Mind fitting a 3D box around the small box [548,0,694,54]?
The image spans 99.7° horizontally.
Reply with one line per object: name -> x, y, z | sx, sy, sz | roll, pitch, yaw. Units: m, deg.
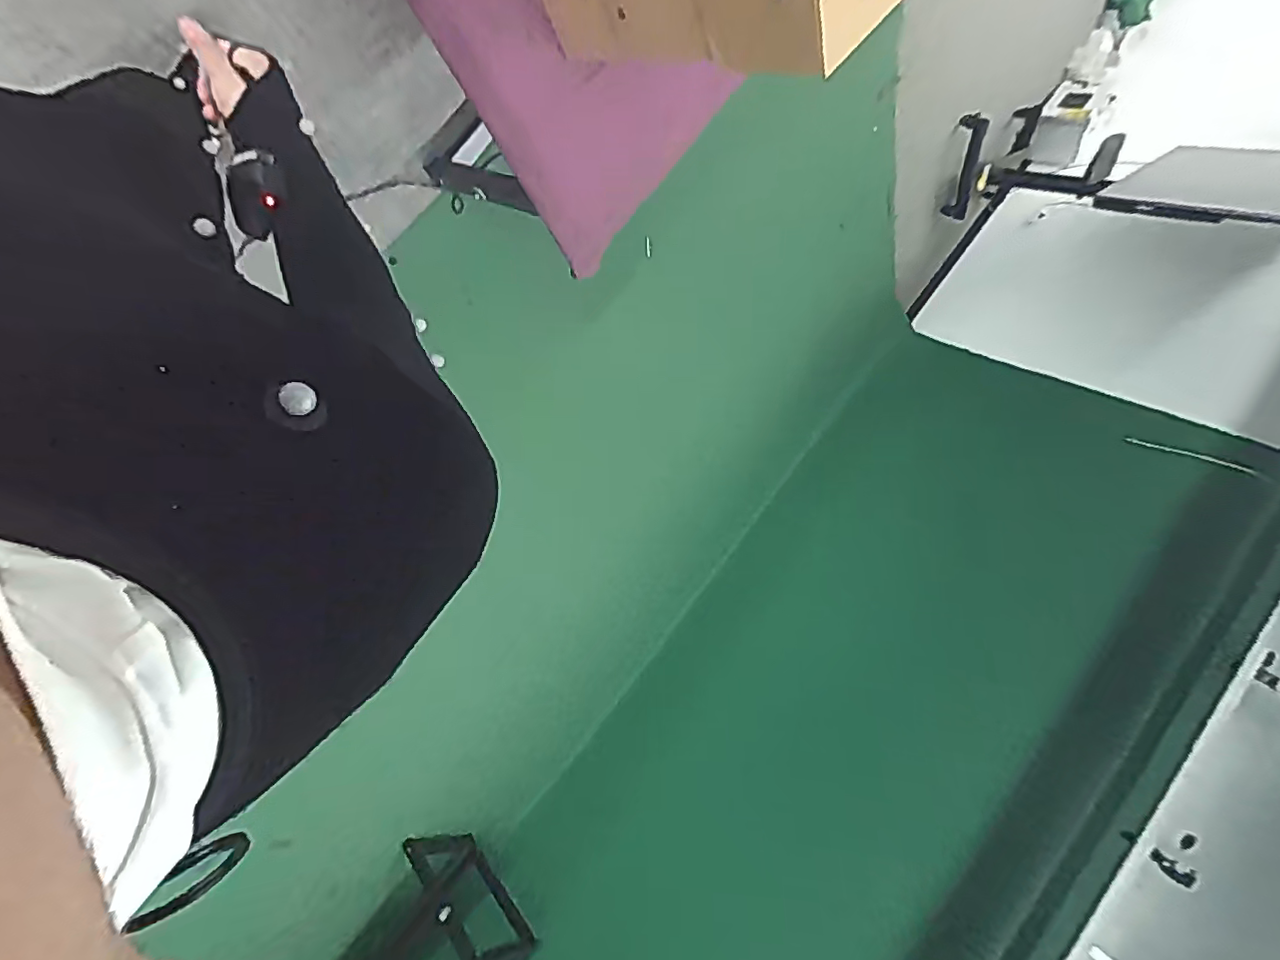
small box -> -0.038, -0.752, 0.773 | 0.168, 0.176, 0.179 | -50, 145, -8

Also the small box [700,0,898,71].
small box -> 0.171, -0.583, 0.585 | 0.168, 0.176, 0.179 | -48, 144, -9
